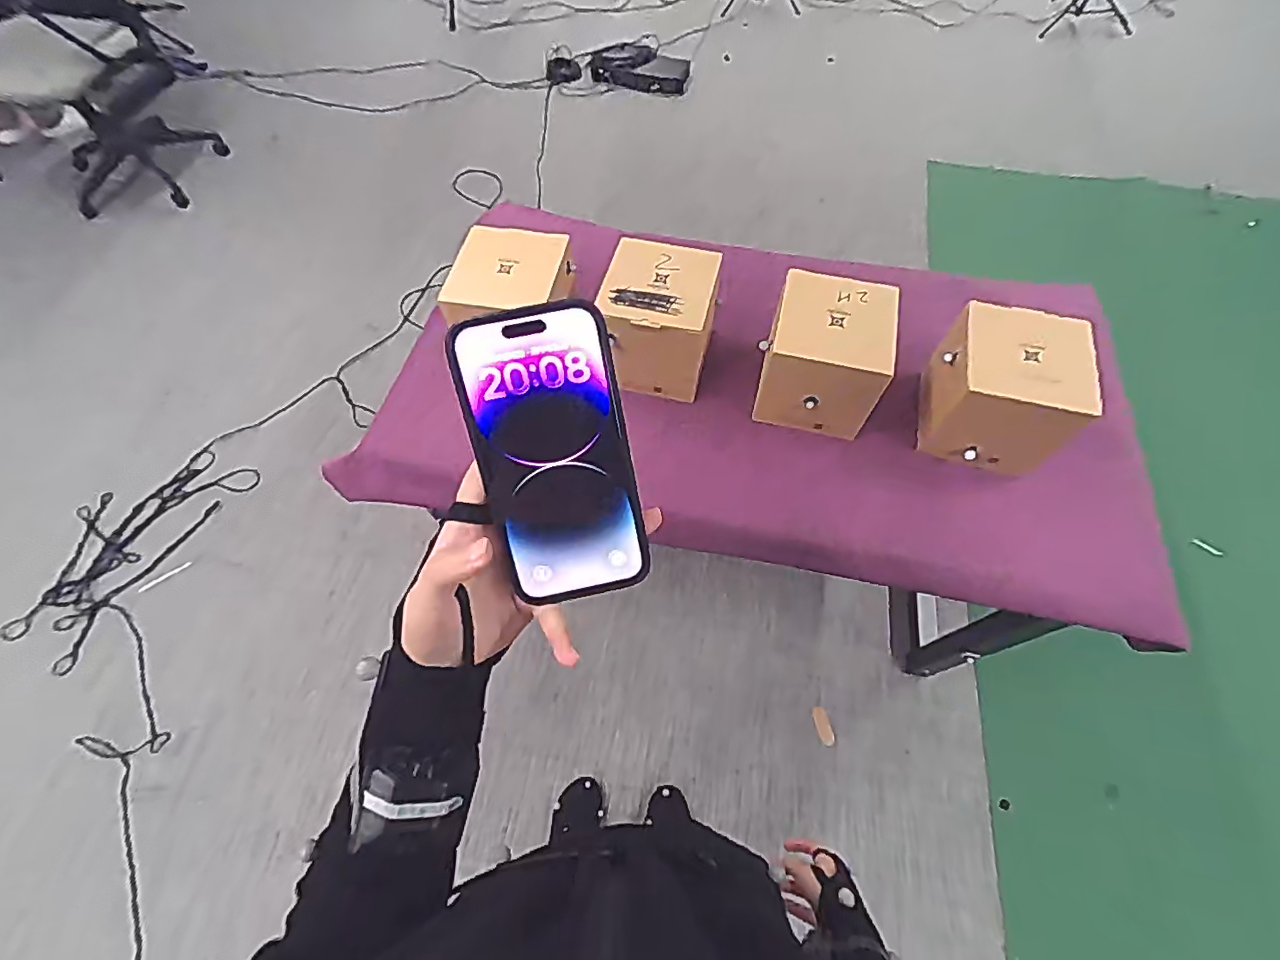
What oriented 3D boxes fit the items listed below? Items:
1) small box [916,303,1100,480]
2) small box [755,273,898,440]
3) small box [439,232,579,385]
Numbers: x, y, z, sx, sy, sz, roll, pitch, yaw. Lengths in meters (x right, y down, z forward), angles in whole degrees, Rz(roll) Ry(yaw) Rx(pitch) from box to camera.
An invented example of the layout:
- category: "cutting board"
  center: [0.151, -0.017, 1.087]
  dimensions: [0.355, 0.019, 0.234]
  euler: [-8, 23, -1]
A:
- category: "small box"
  center: [0.535, -0.129, 0.811]
  dimensions: [0.168, 0.176, 0.179]
  euler: [14, 62, 9]
- category: "small box"
  center: [0.283, -0.186, 0.845]
  dimensions: [0.168, 0.176, 0.179]
  euler: [14, 62, 7]
- category: "small box"
  center: [-0.205, -0.282, 0.904]
  dimensions: [0.168, 0.176, 0.179]
  euler: [8, 60, 5]
